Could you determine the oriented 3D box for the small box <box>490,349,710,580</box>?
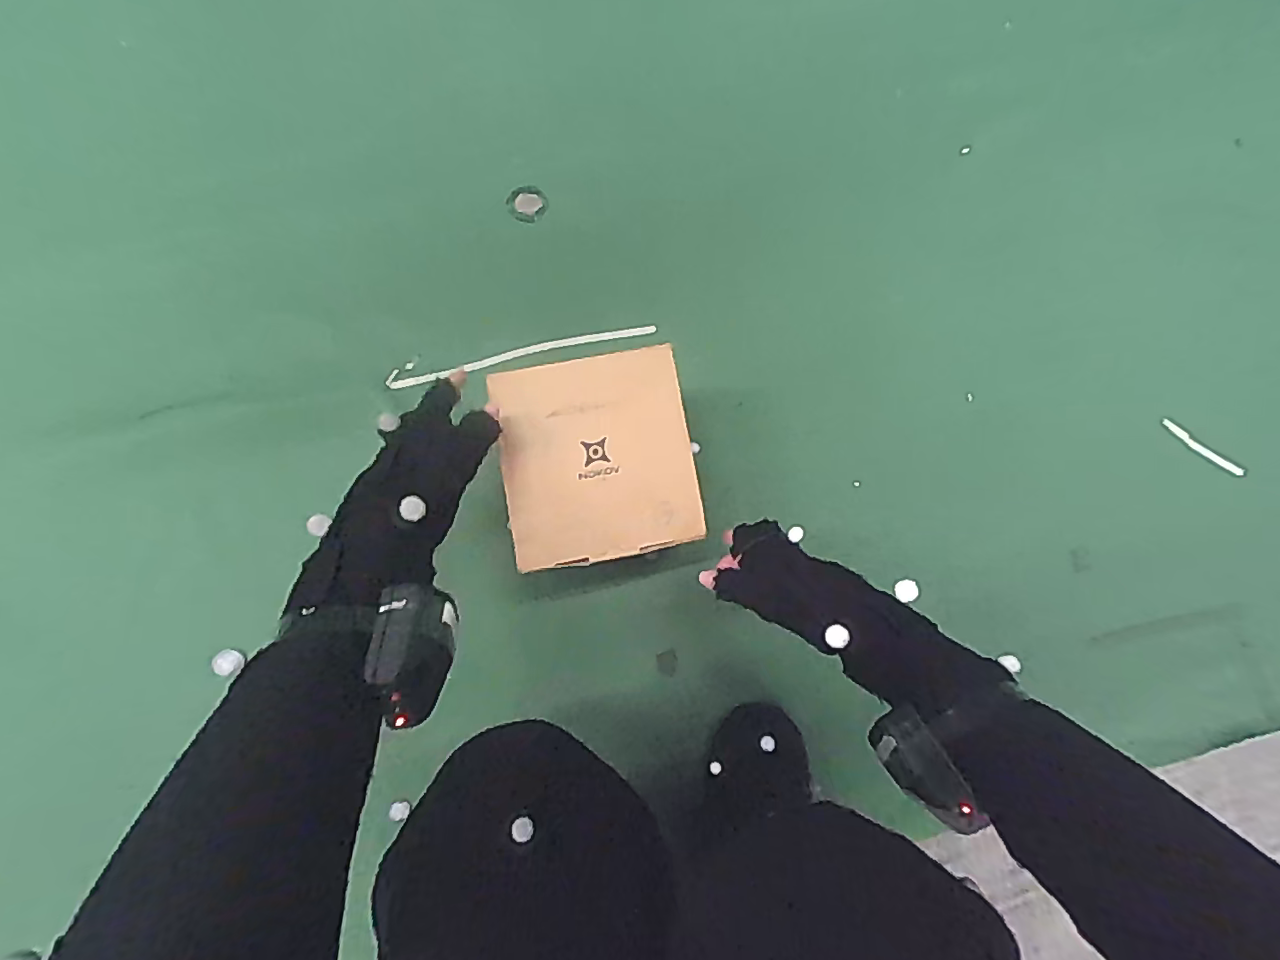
[{"bbox_3d":[-0.038,-0.009,0.525,0.168,0.176,0.179,-8,85,-6],"label":"small box"}]
